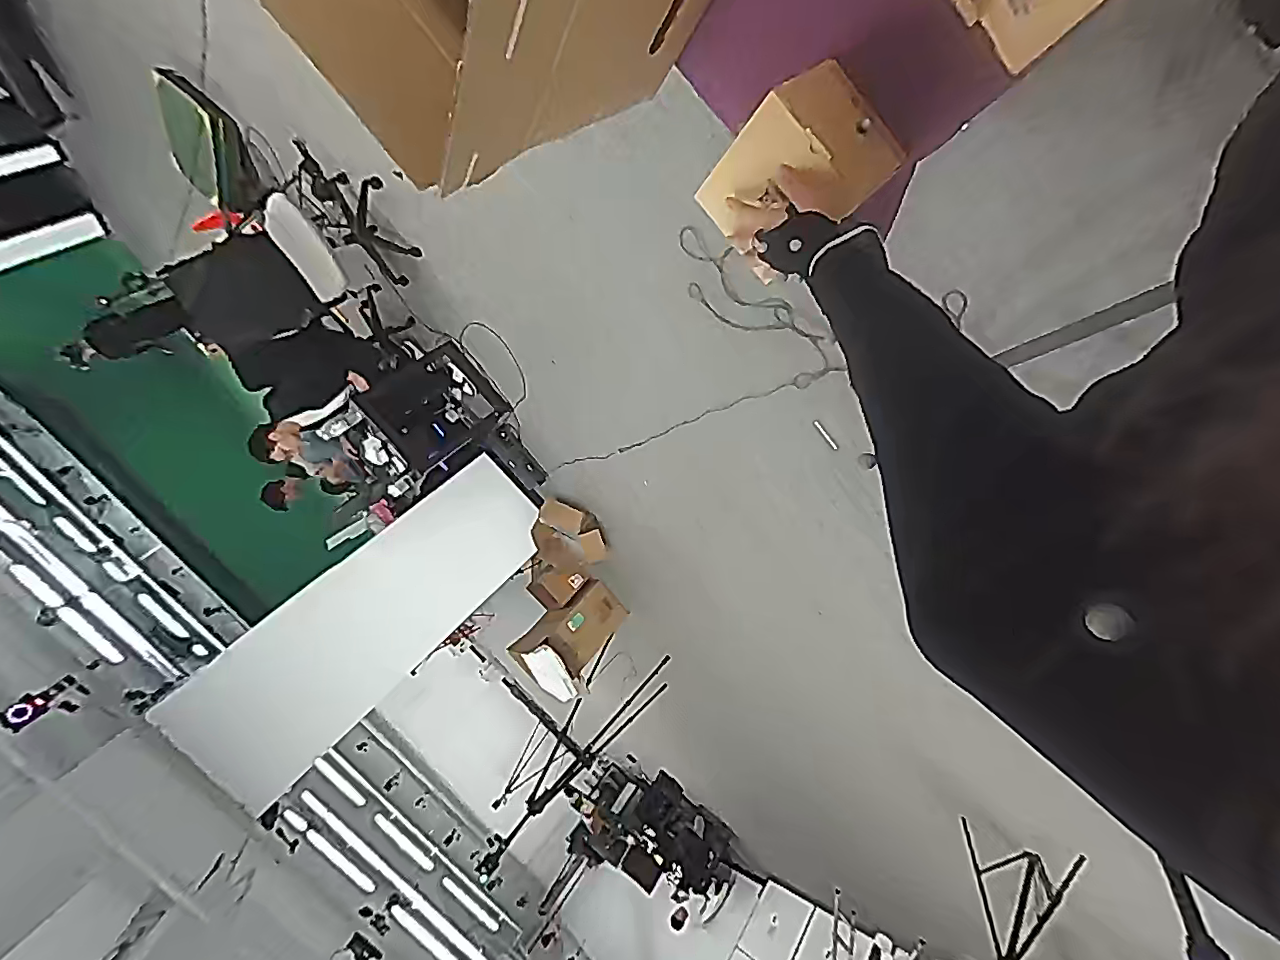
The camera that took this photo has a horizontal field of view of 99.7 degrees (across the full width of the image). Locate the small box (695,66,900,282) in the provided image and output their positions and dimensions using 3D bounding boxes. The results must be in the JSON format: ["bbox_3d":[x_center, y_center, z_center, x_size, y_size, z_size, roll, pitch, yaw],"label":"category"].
[{"bbox_3d":[0.216,-0.417,0.745,0.168,0.176,0.179,48,148,-6],"label":"small box"}]
